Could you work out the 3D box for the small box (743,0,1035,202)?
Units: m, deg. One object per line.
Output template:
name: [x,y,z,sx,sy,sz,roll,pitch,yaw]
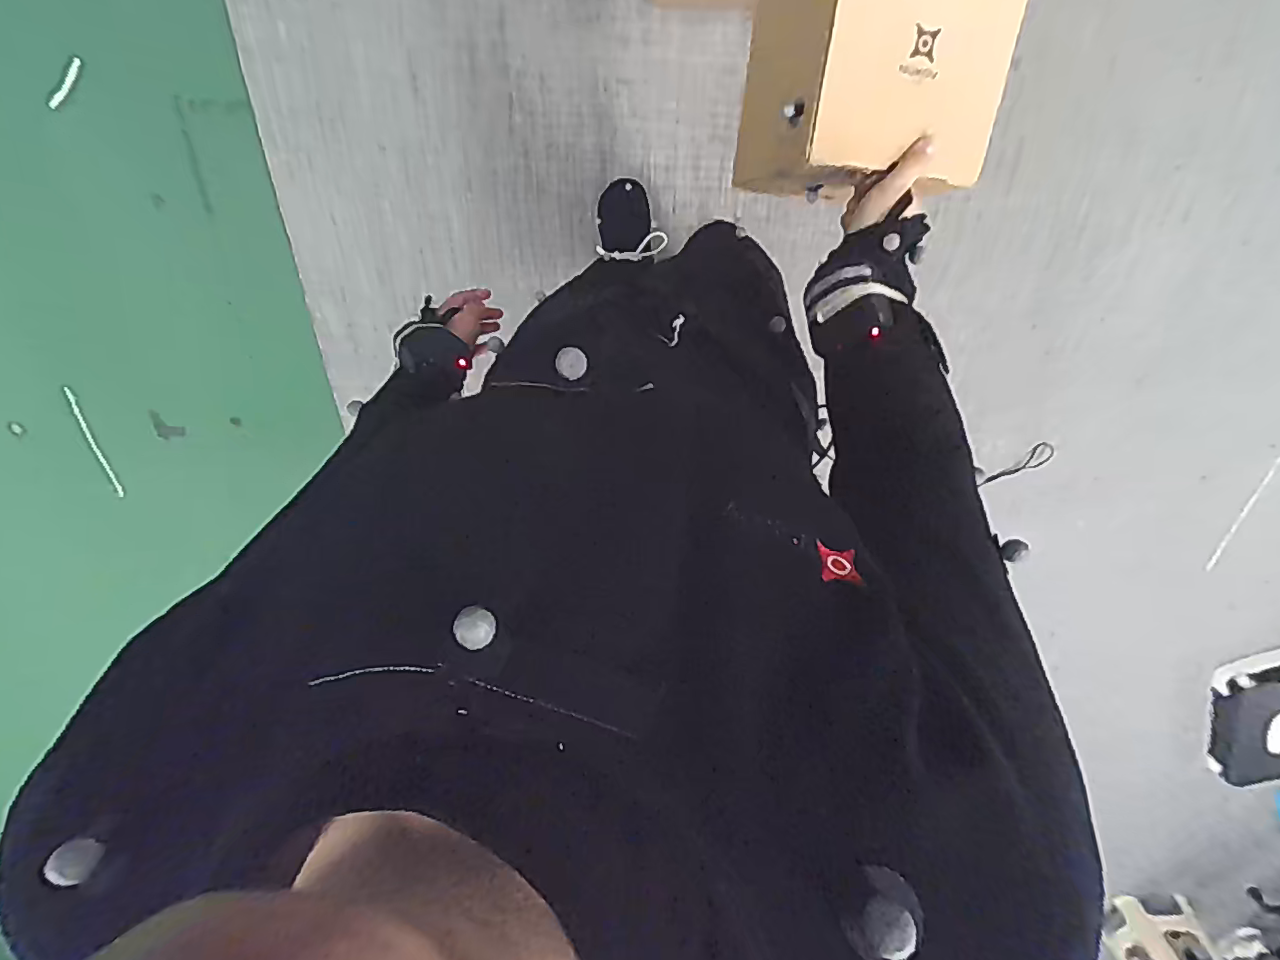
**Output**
small box: [0.209,-0.369,0.494,0.168,0.176,0.179,0,112,-14]
